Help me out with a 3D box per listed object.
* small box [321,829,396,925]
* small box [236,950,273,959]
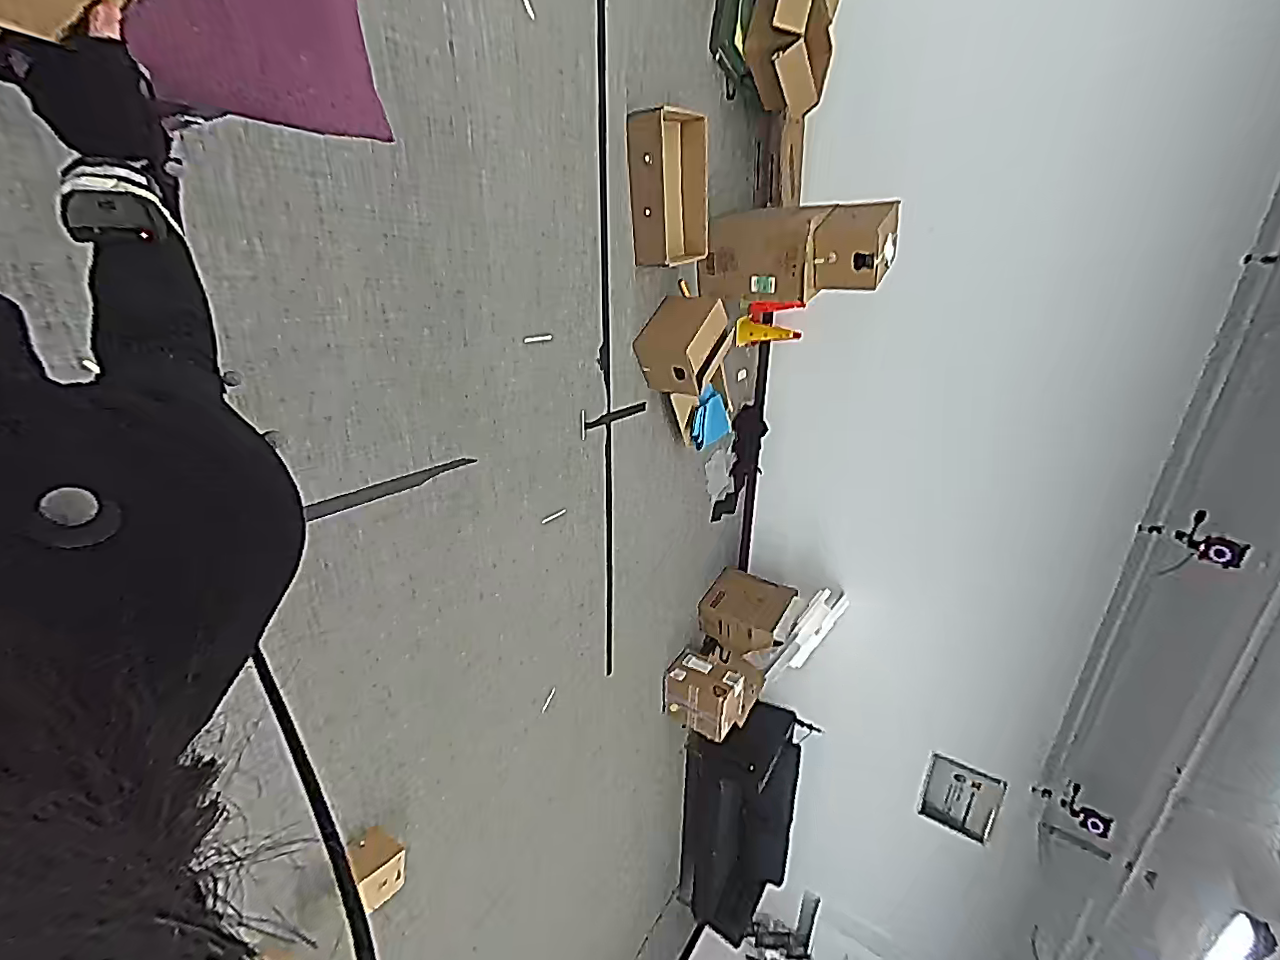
[{"bbox_3d":[-0.990,1.382,1.895,0.179,0.176,0.168,-9,110,-58],"label":"small box"},{"bbox_3d":[-1.190,1.590,1.647,0.168,0.176,0.179,-48,140,-38],"label":"small box"}]
